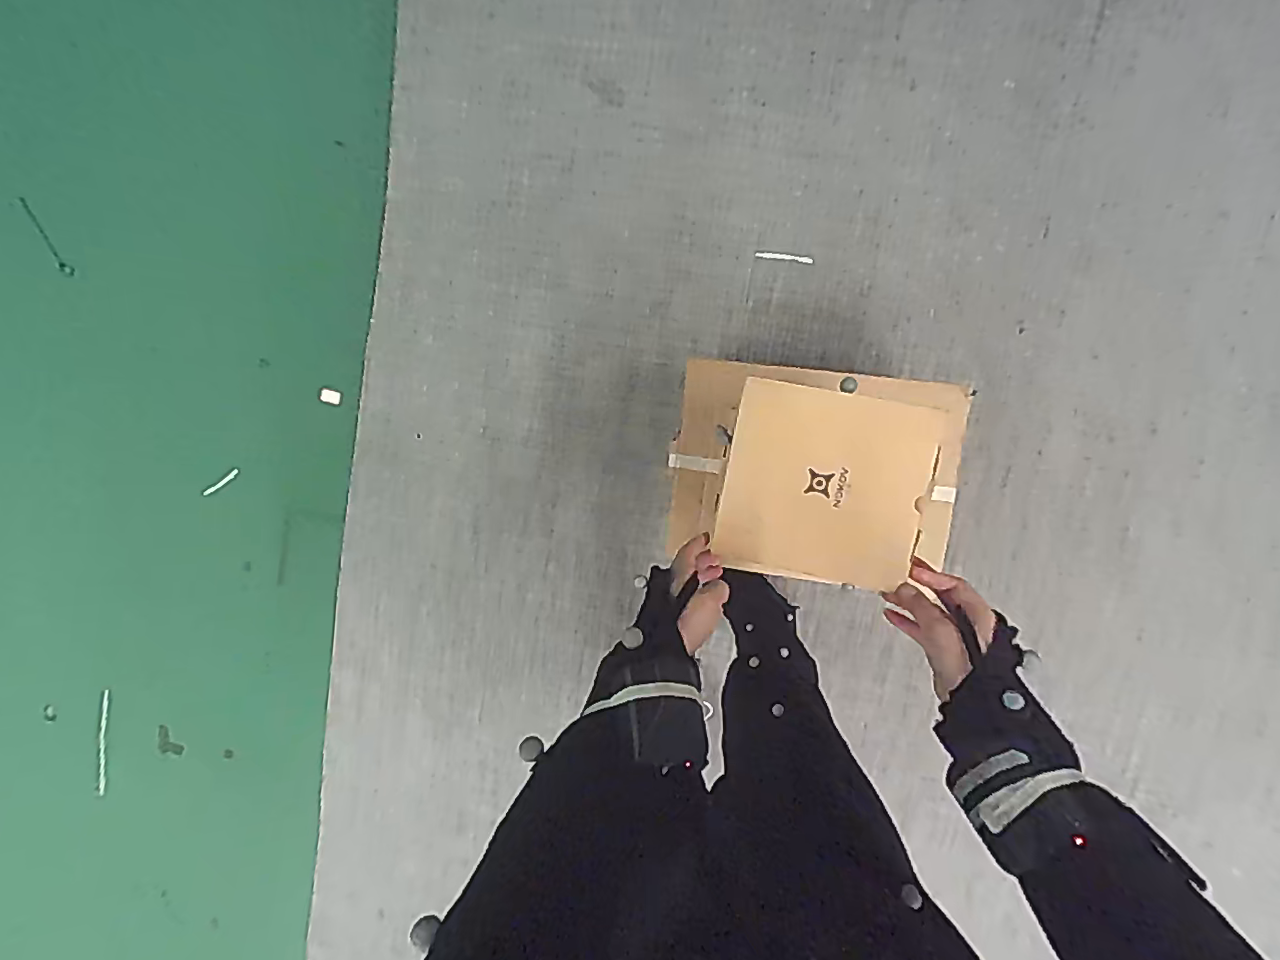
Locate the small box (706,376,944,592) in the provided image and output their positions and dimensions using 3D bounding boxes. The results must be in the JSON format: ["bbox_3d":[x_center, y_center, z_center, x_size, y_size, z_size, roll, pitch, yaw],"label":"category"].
[{"bbox_3d":[0.171,-0.002,0.556,0.179,0.176,0.168,11,96,7],"label":"small box"}]

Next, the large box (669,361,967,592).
[{"bbox_3d":[0.274,-0.019,0.951,0.408,0.320,0.320,7,97,8],"label":"large box"}]
